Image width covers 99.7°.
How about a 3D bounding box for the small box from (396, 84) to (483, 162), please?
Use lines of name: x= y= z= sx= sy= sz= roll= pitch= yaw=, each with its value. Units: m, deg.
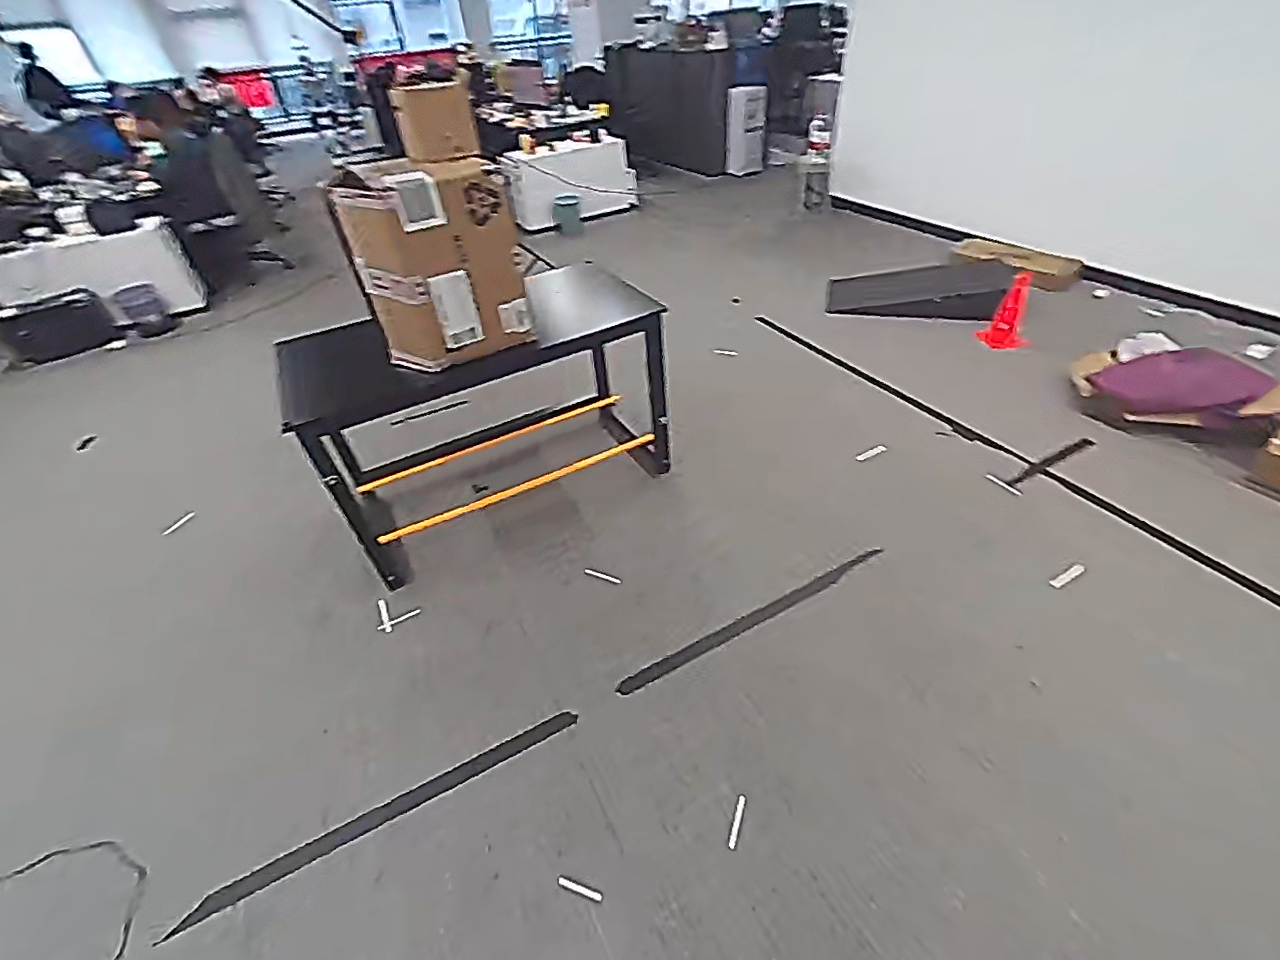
small box: x=-0.567 y=-1.013 z=1.536 sx=0.168 sy=0.176 sz=0.179 roll=-24 pitch=43 yaw=-22
